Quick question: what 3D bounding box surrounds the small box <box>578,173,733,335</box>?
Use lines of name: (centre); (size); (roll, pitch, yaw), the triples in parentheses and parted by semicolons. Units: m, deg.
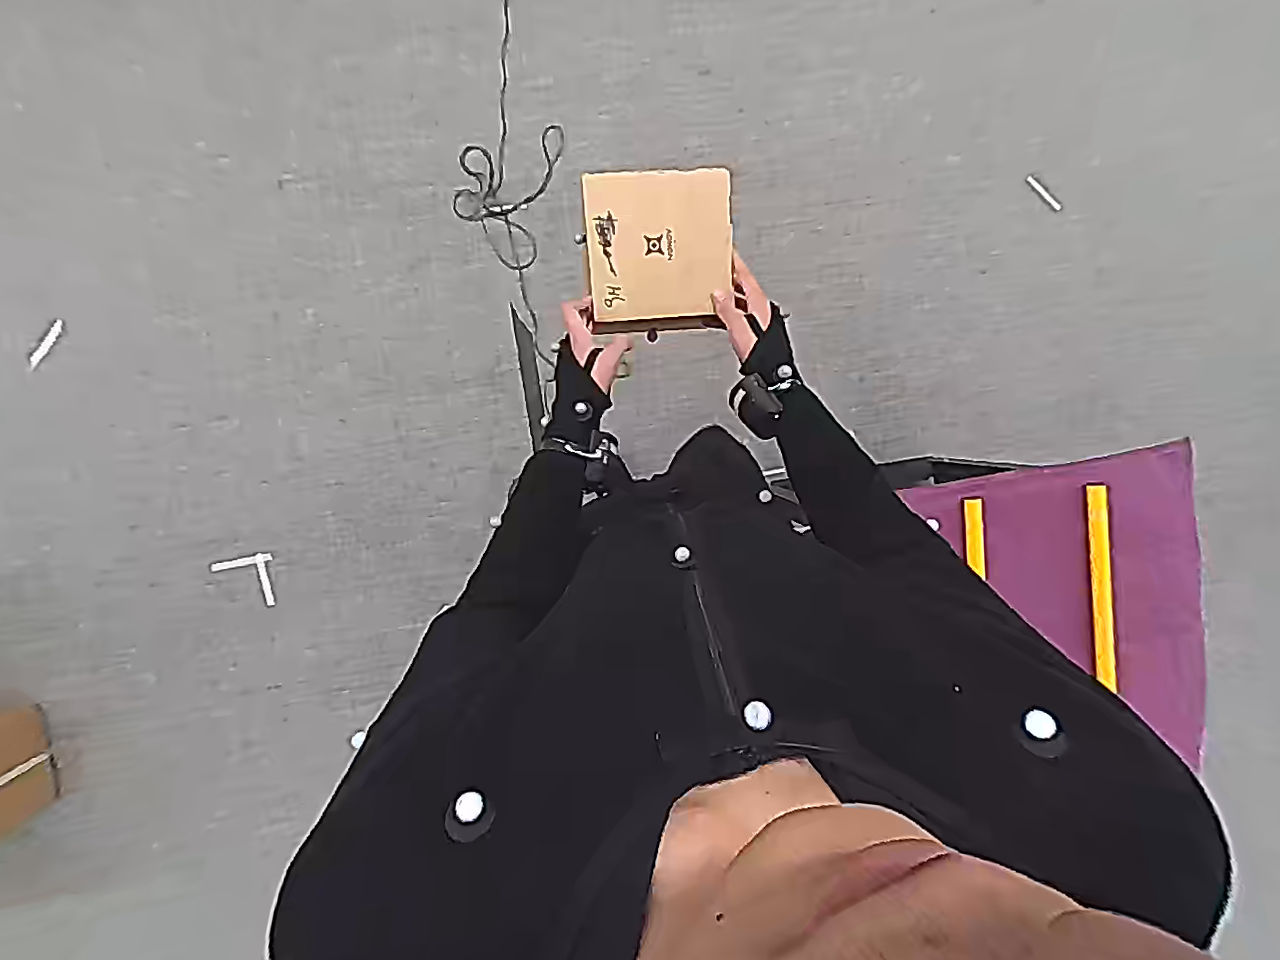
small box: (0.013, -0.285, 0.711); (0.179, 0.176, 0.168); (-5, 100, -6)
